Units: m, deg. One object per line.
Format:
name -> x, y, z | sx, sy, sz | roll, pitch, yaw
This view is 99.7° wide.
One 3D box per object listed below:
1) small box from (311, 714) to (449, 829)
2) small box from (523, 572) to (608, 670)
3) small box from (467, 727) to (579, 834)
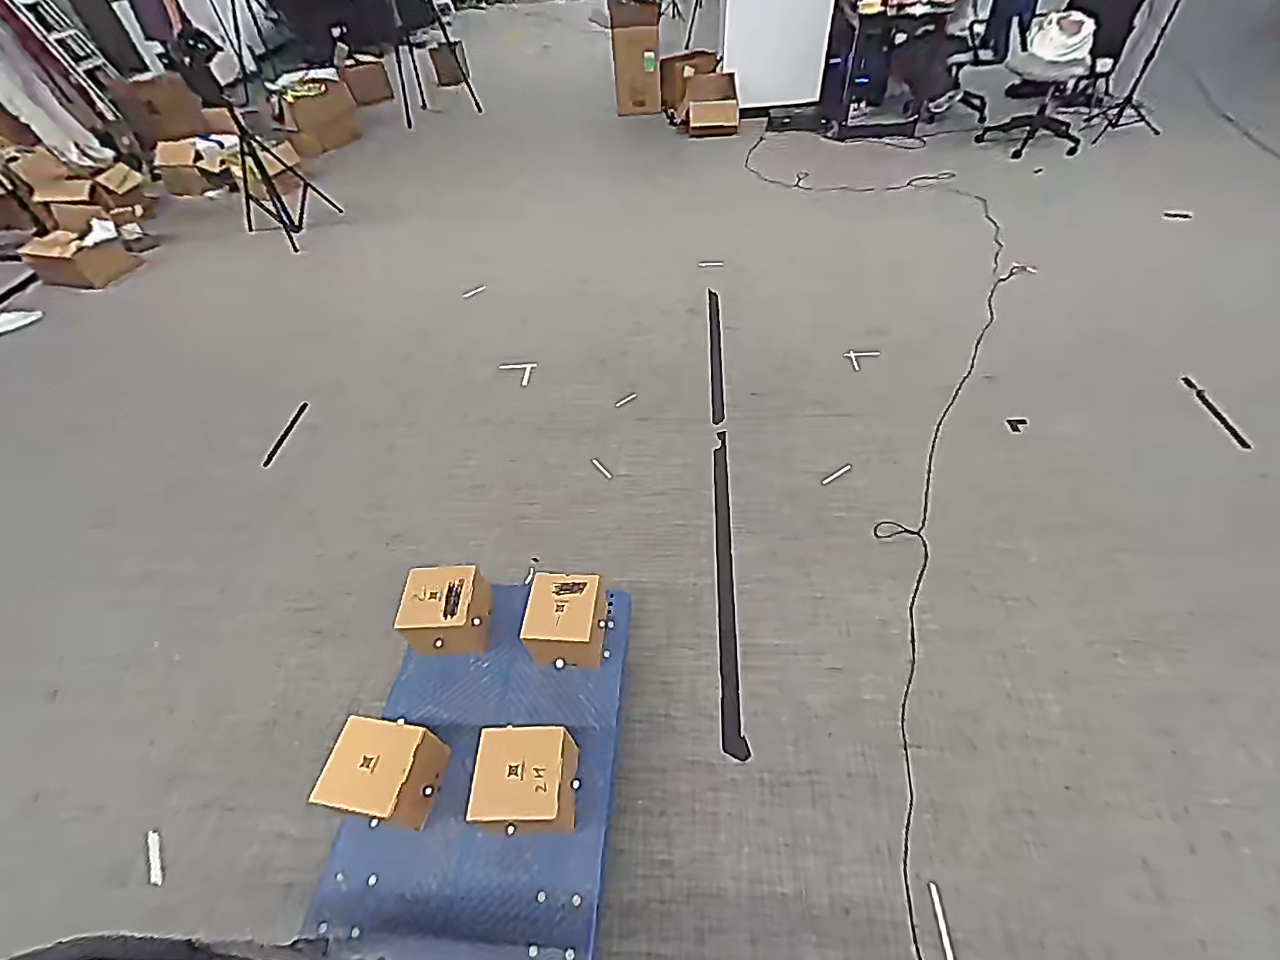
small box -> -0.537, 0.620, 1.145 | 0.179, 0.176, 0.168 | 6, 49, 8
small box -> -0.177, 0.350, 1.344 | 0.168, 0.176, 0.179 | 2, 51, 7
small box -> -0.231, 0.621, 1.114 | 0.179, 0.176, 0.168 | -3, 49, 4
